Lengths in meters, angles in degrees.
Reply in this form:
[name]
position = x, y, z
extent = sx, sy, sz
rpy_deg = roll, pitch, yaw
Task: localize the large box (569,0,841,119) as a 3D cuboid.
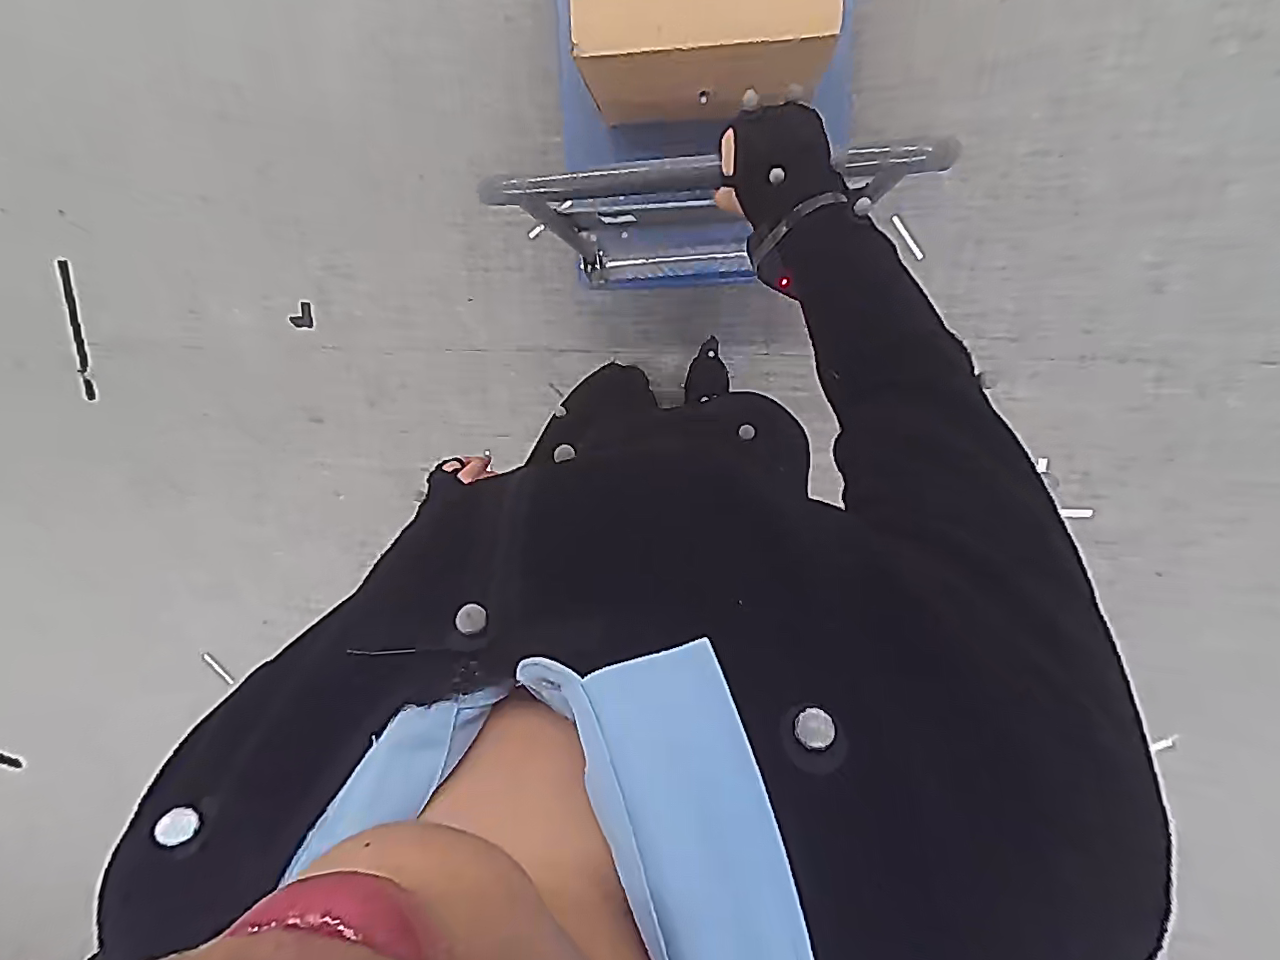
[large box]
position = 0.107, -0.845, 0.903
extent = 0.408, 0.320, 0.320
rpy_deg = 1, 105, 8
